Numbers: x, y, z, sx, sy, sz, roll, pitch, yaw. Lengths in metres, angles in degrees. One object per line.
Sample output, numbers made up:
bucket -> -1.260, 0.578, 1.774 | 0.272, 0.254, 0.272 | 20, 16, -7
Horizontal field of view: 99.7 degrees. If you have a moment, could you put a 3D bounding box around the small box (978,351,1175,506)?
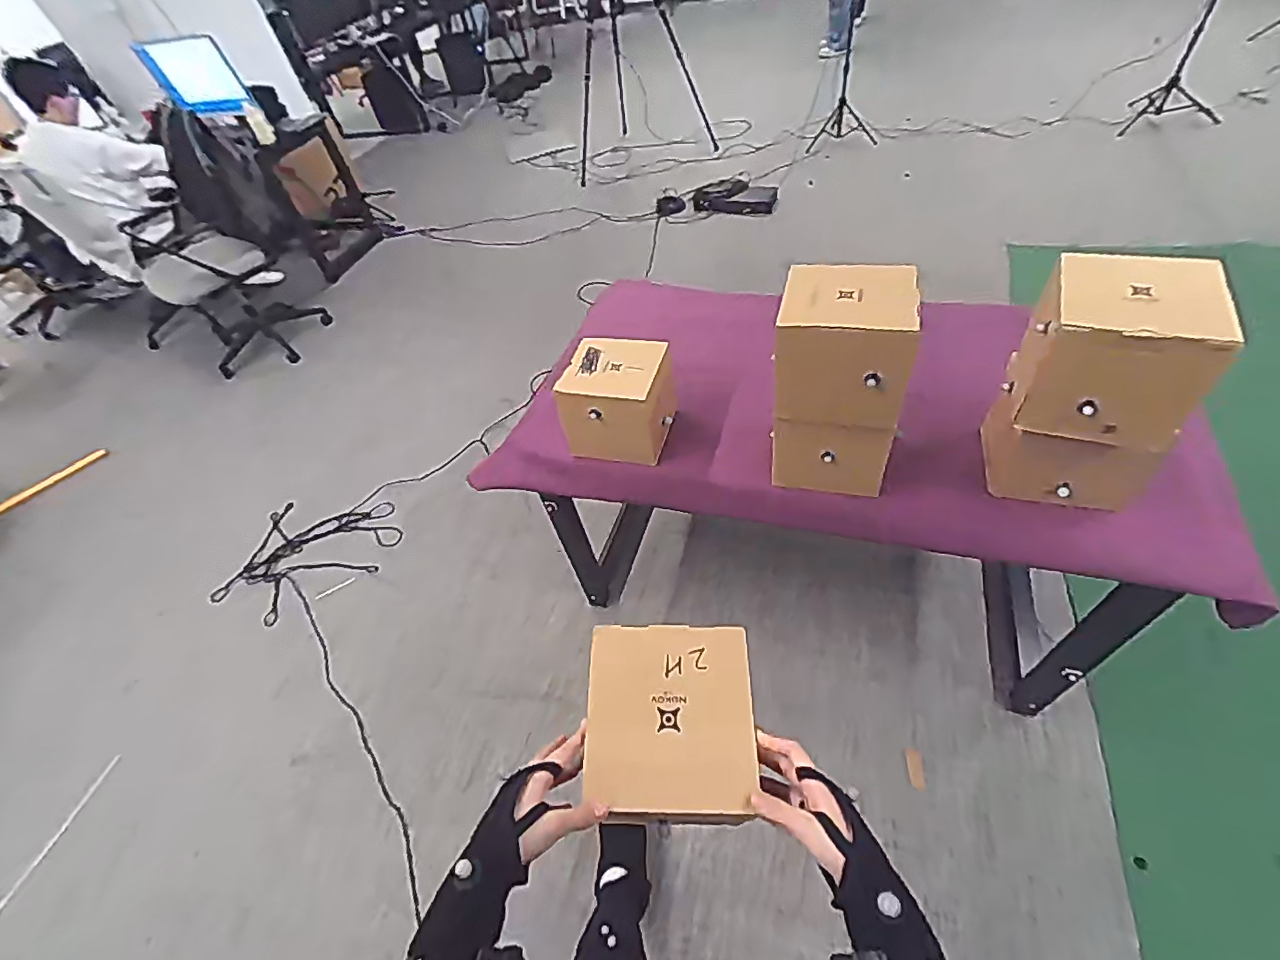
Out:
small box -> 0.650, -0.079, 0.832 | 0.179, 0.176, 0.168 | 7, 50, 18

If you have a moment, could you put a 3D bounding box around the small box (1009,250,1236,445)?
small box -> 0.604, -0.174, 0.706 | 0.168, 0.176, 0.179 | 13, 53, 24

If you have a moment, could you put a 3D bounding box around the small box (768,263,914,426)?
small box -> 0.289, -0.197, 0.792 | 0.179, 0.176, 0.168 | 7, 49, 19

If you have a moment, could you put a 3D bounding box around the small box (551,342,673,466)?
small box -> -0.044, -0.145, 1.037 | 0.179, 0.176, 0.168 | 7, 50, 17

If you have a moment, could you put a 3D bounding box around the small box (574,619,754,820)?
small box -> 0.028, 0.267, 0.595 | 0.168, 0.176, 0.179 | 0, 54, 2
